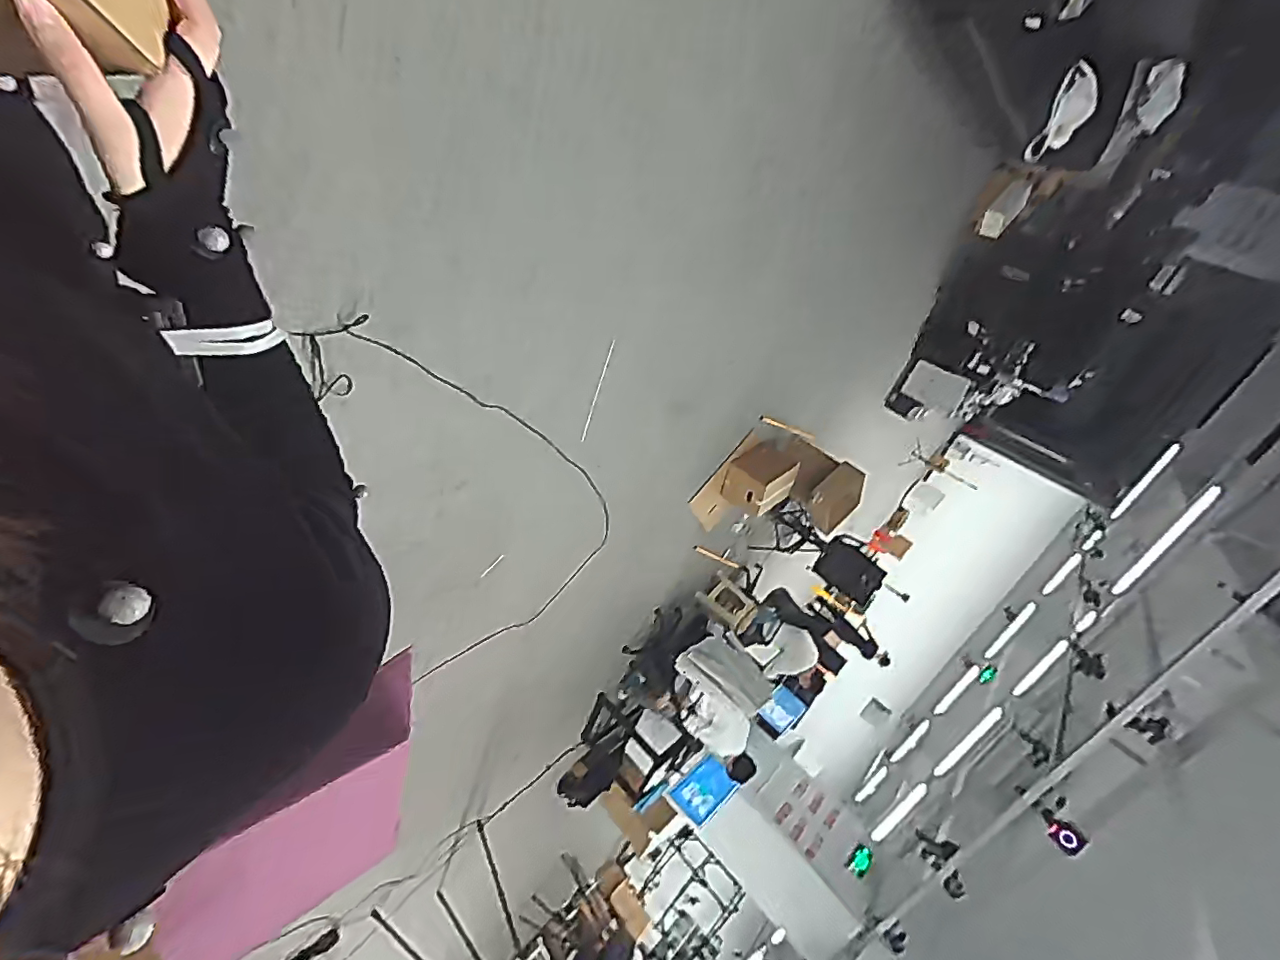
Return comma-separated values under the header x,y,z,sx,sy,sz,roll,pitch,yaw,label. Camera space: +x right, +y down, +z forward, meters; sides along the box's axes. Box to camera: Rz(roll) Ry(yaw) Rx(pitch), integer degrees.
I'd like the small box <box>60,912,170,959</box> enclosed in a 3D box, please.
x,y,z,sx,sy,sz,roll,pitch,yaw,label
-0.963,0.944,0.974,0.179,0.176,0.168,-12,132,-50,small box
